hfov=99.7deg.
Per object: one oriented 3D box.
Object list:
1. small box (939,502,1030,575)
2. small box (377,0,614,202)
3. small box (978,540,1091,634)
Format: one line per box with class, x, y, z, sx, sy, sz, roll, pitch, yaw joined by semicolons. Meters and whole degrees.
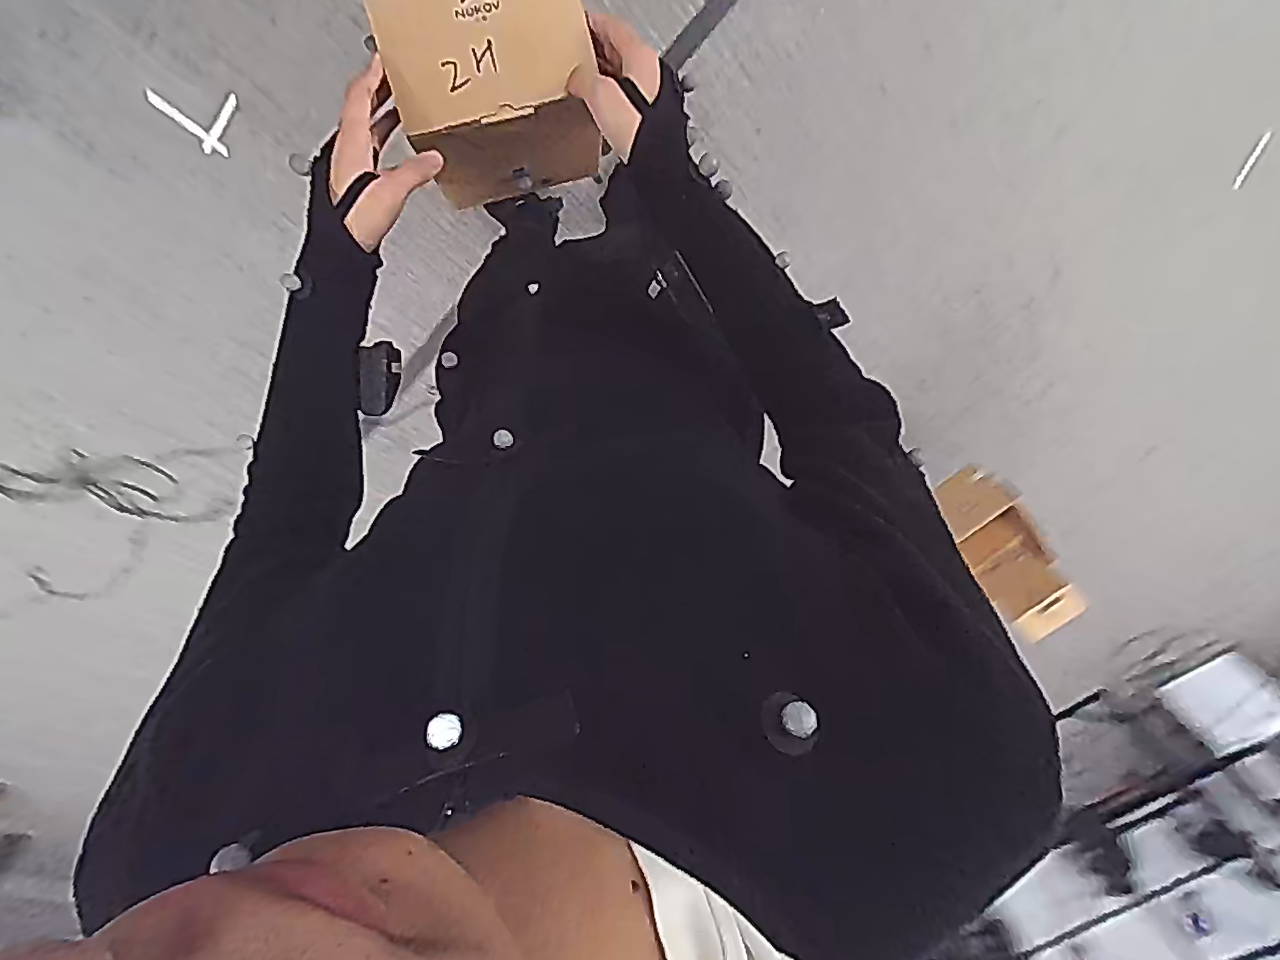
small box;1.059;0.195;1.640;0.179;0.176;0.168;35;110;-30
small box;-0.127;-0.388;0.495;0.168;0.176;0.179;-15;101;-3
small box;1.097;0.294;1.514;0.179;0.176;0.168;34;111;-31
